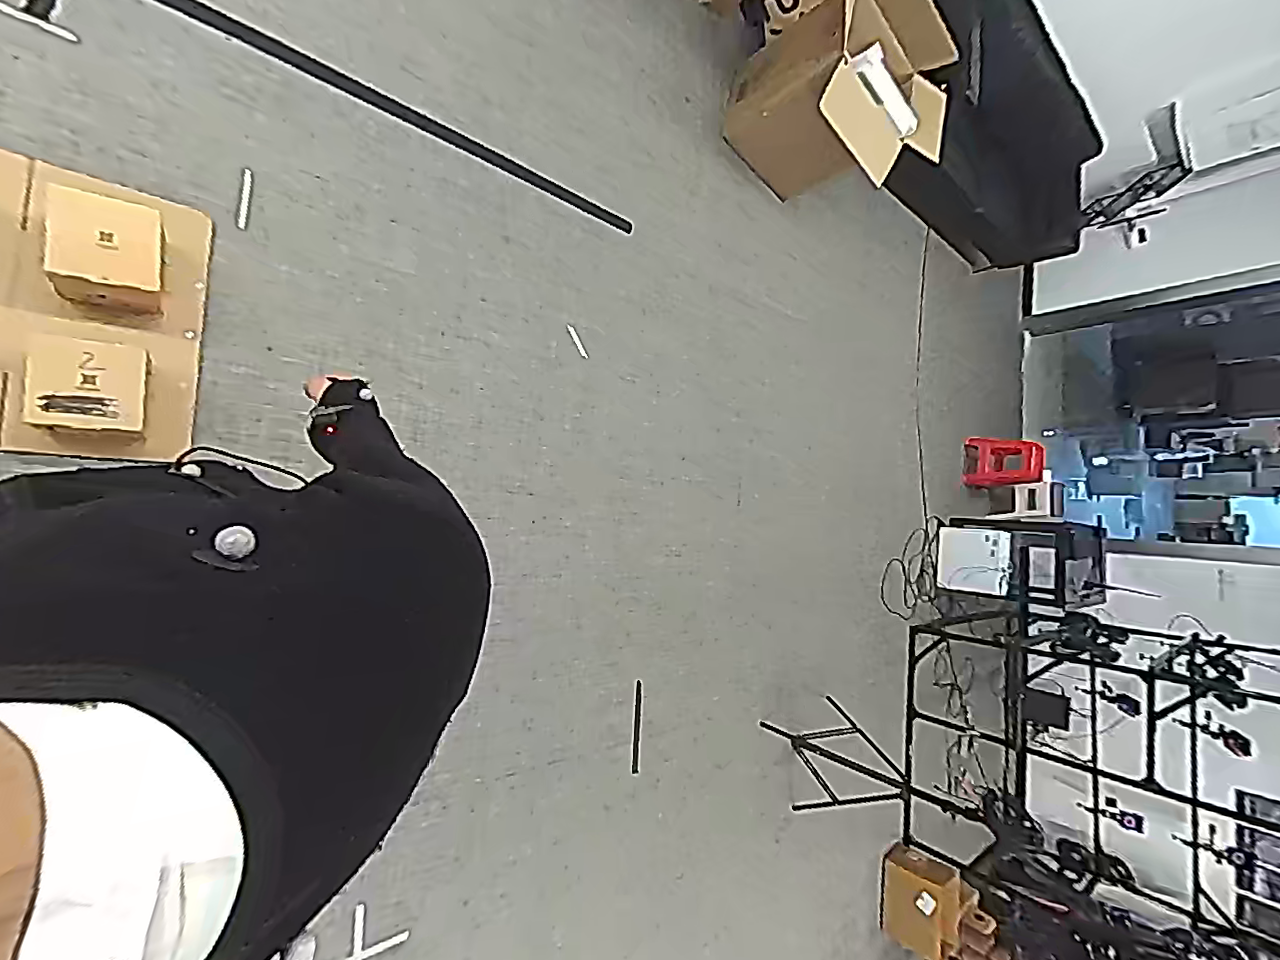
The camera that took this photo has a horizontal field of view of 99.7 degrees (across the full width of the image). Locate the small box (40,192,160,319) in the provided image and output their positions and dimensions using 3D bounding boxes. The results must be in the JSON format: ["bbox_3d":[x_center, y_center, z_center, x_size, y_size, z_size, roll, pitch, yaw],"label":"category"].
[{"bbox_3d":[-1.119,-0.456,1.131,0.168,0.176,0.179,0,88,-40],"label":"small box"}]
